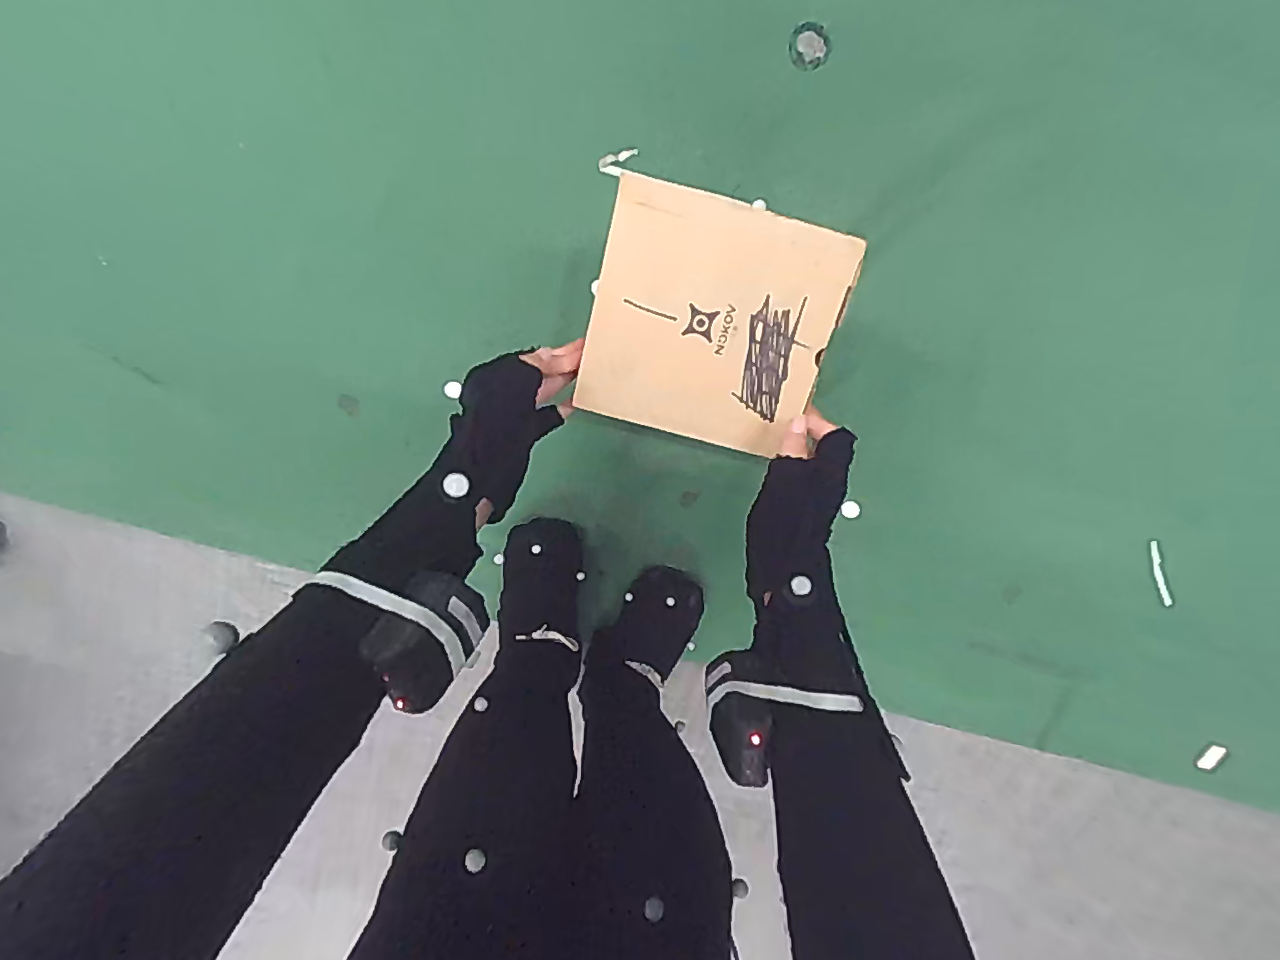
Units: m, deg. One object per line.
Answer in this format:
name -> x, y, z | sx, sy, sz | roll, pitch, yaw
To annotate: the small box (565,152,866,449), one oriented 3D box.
small box -> 0.051, -0.144, 0.462 | 0.179, 0.176, 0.168 | 17, 106, -3
